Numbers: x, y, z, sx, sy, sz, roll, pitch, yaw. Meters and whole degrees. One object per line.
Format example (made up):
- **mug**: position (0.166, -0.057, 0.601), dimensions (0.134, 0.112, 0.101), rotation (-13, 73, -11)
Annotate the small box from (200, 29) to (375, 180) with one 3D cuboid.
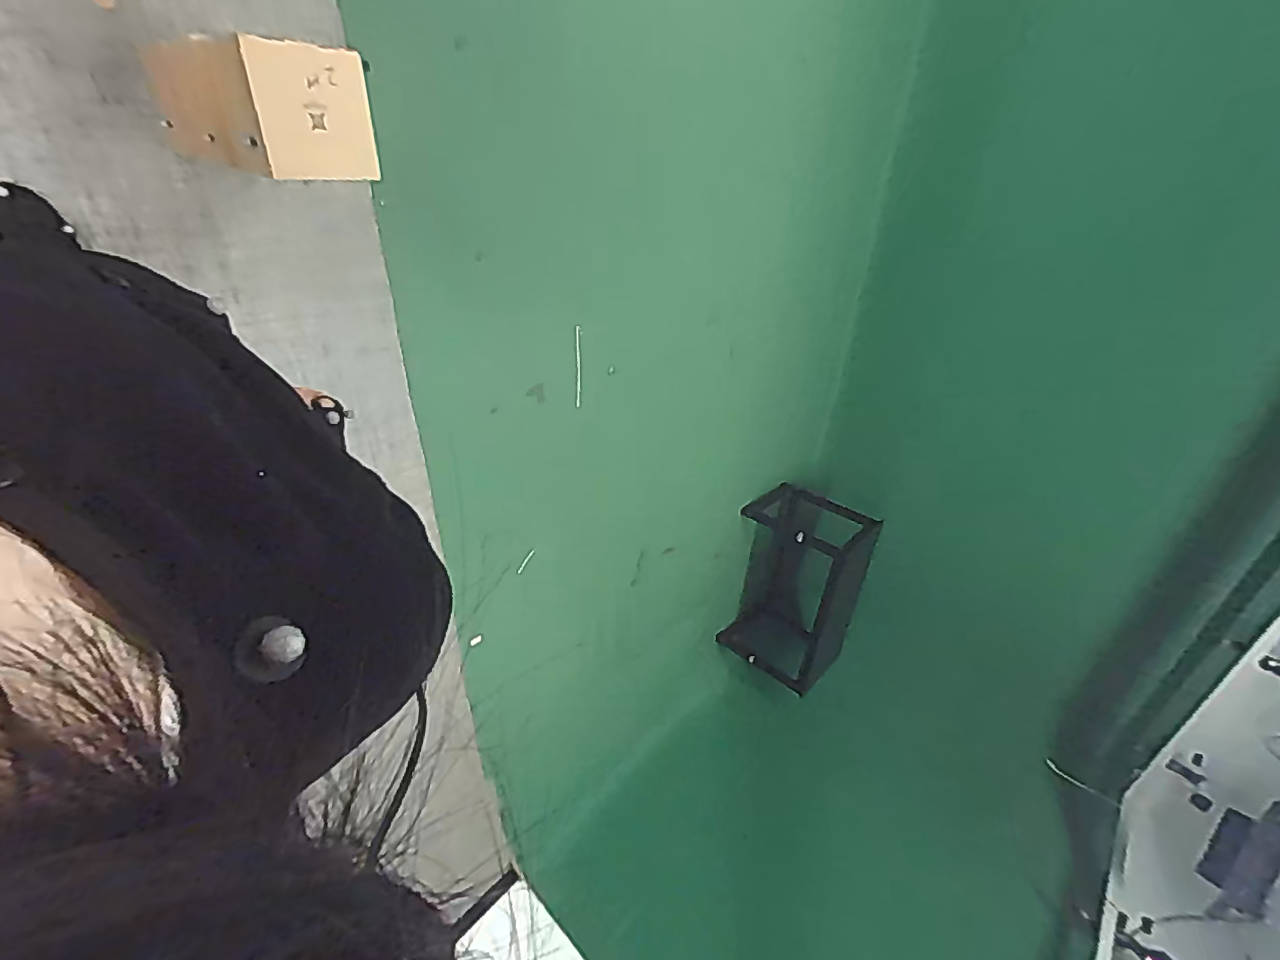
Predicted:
- **small box**: position (-0.552, -0.584, 0.856), dimensions (0.168, 0.176, 0.179), rotation (-28, 133, -41)
